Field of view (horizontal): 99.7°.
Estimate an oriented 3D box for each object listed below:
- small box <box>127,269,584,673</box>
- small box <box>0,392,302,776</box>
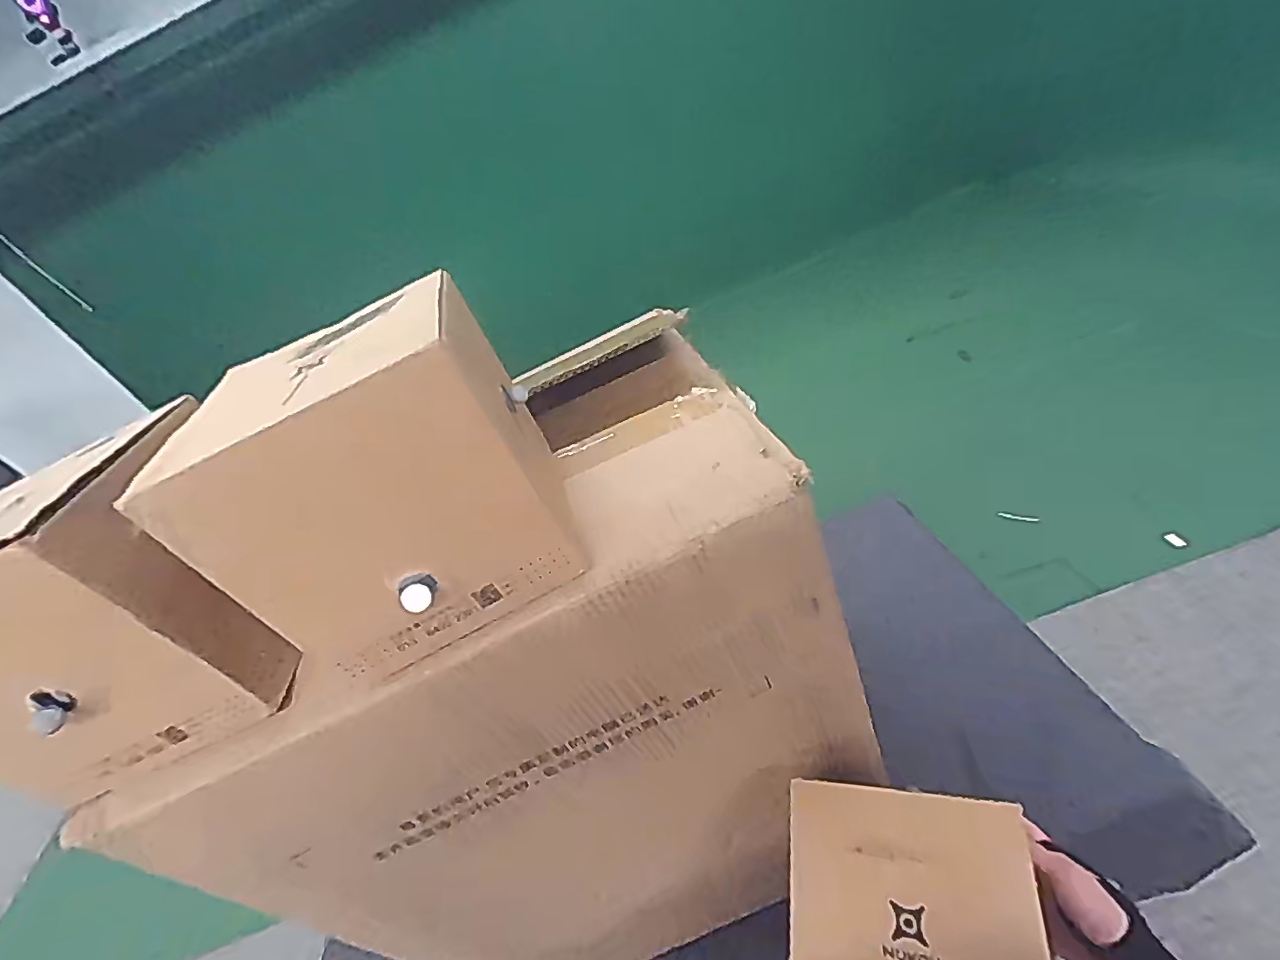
[{"bbox_3d":[-0.156,-0.011,0.360,0.168,0.176,0.179,-27,37,-2],"label":"small box"},{"bbox_3d":[-0.352,0.075,0.376,0.168,0.176,0.179,-25,36,3],"label":"small box"}]
